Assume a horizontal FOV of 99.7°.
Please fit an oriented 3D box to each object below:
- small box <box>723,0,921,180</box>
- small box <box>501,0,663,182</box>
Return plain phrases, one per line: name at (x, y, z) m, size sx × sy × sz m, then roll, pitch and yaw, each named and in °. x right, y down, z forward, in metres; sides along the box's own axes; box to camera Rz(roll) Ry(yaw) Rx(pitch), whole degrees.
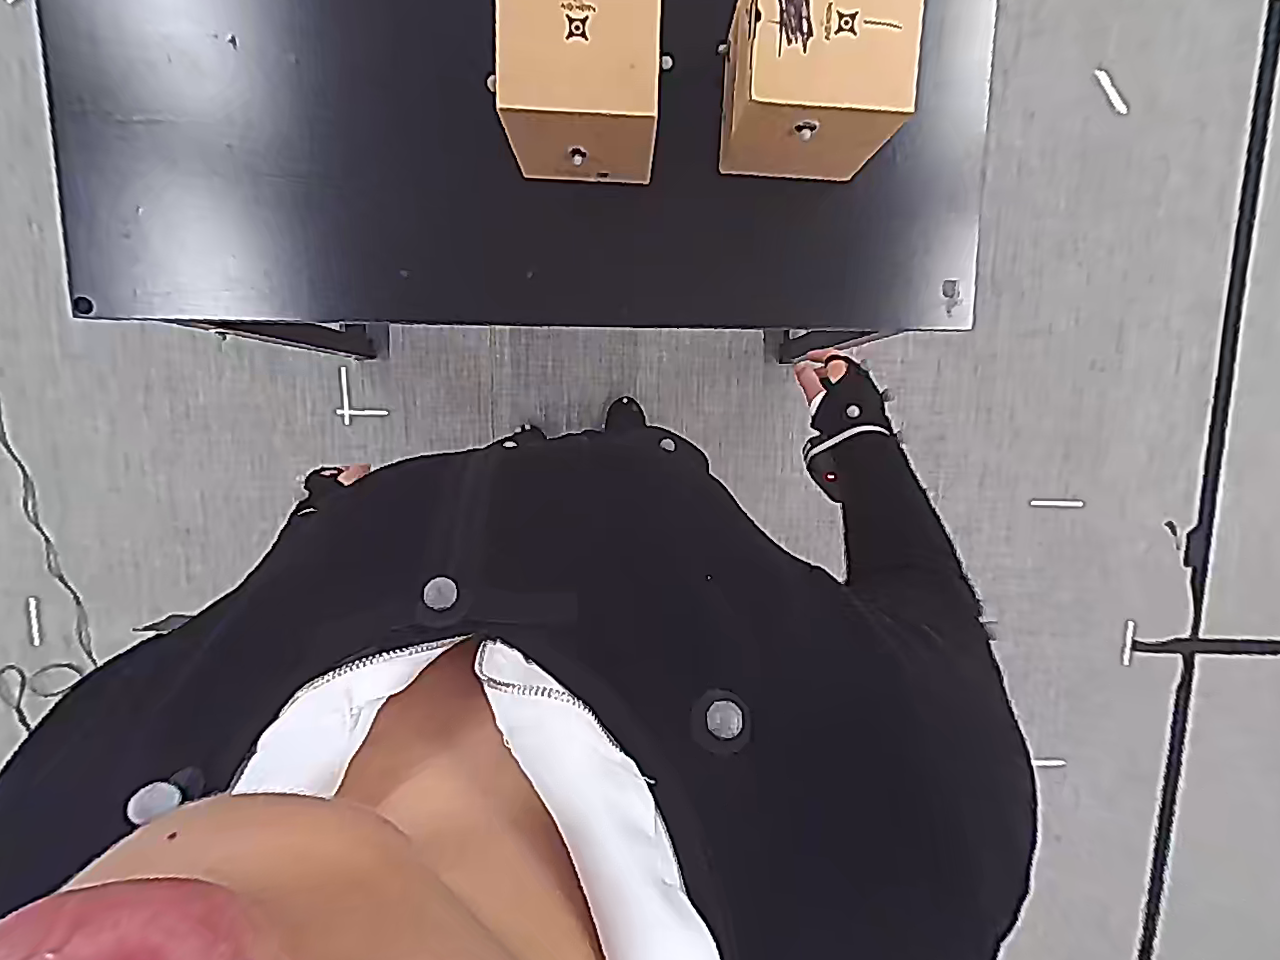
small box at (0.200, -0.478, 0.638) m, size 0.179 × 0.176 × 0.168 m, roll 3°, pitch 97°, yaw -3°
small box at (-0.061, -0.473, 0.630) m, size 0.168 × 0.176 × 0.179 m, roll 2°, pitch 97°, yaw -3°
